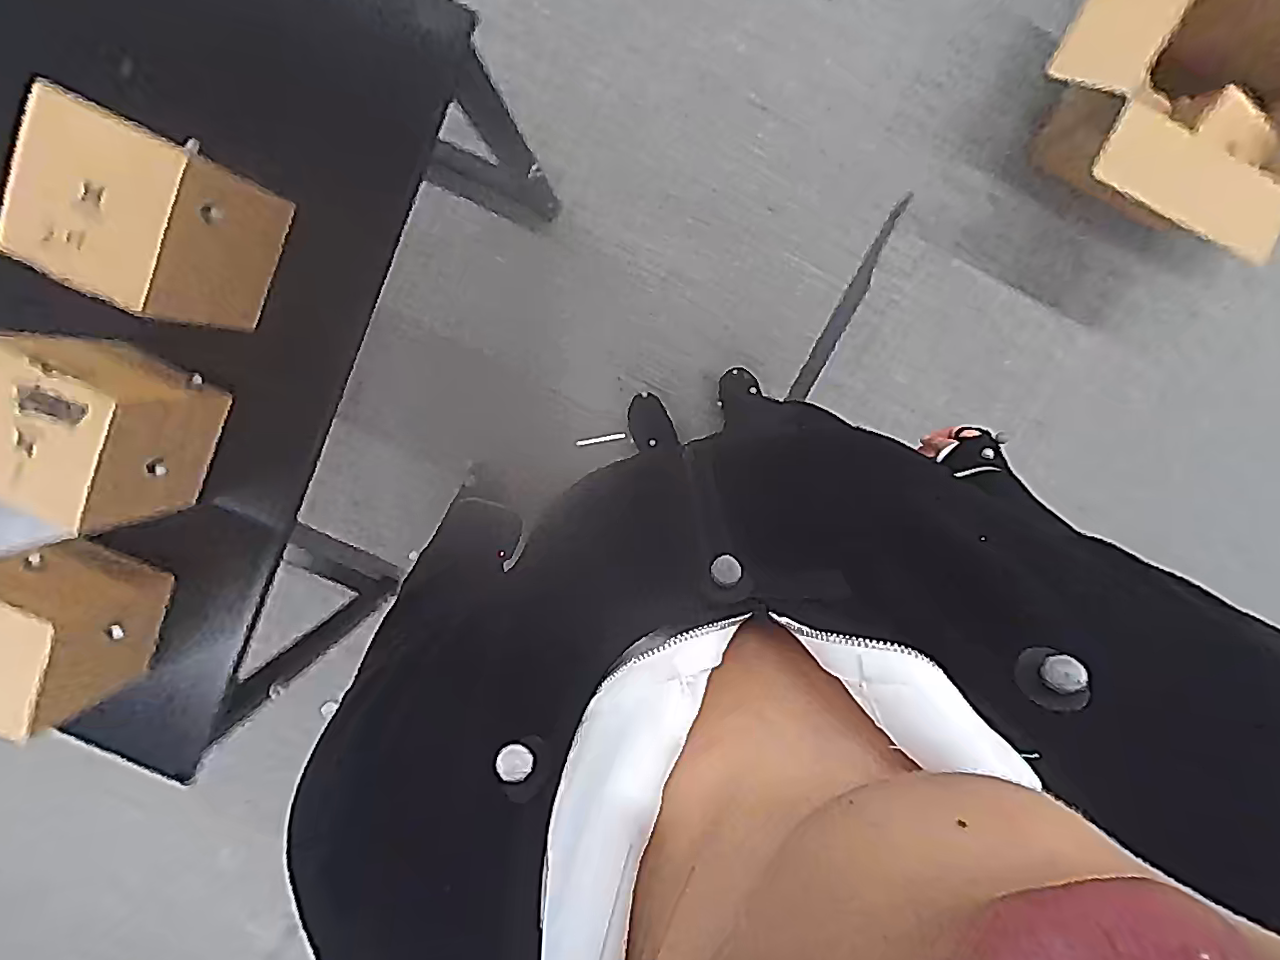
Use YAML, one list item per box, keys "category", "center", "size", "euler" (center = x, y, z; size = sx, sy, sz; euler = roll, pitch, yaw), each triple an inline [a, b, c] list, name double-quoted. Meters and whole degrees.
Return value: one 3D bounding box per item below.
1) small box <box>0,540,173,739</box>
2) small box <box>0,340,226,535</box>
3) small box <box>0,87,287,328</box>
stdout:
- category: "small box"
  center: [-0.799, 0.204, 0.740]
  size: [0.168, 0.176, 0.179]
  euler: [23, 101, -2]
- category: "small box"
  center: [-0.681, -0.061, 0.688]
  size: [0.168, 0.176, 0.179]
  euler: [26, 101, -3]
- category: "small box"
  center: [-0.564, -0.300, 0.640]
  size: [0.168, 0.176, 0.179]
  euler: [25, 100, -2]
